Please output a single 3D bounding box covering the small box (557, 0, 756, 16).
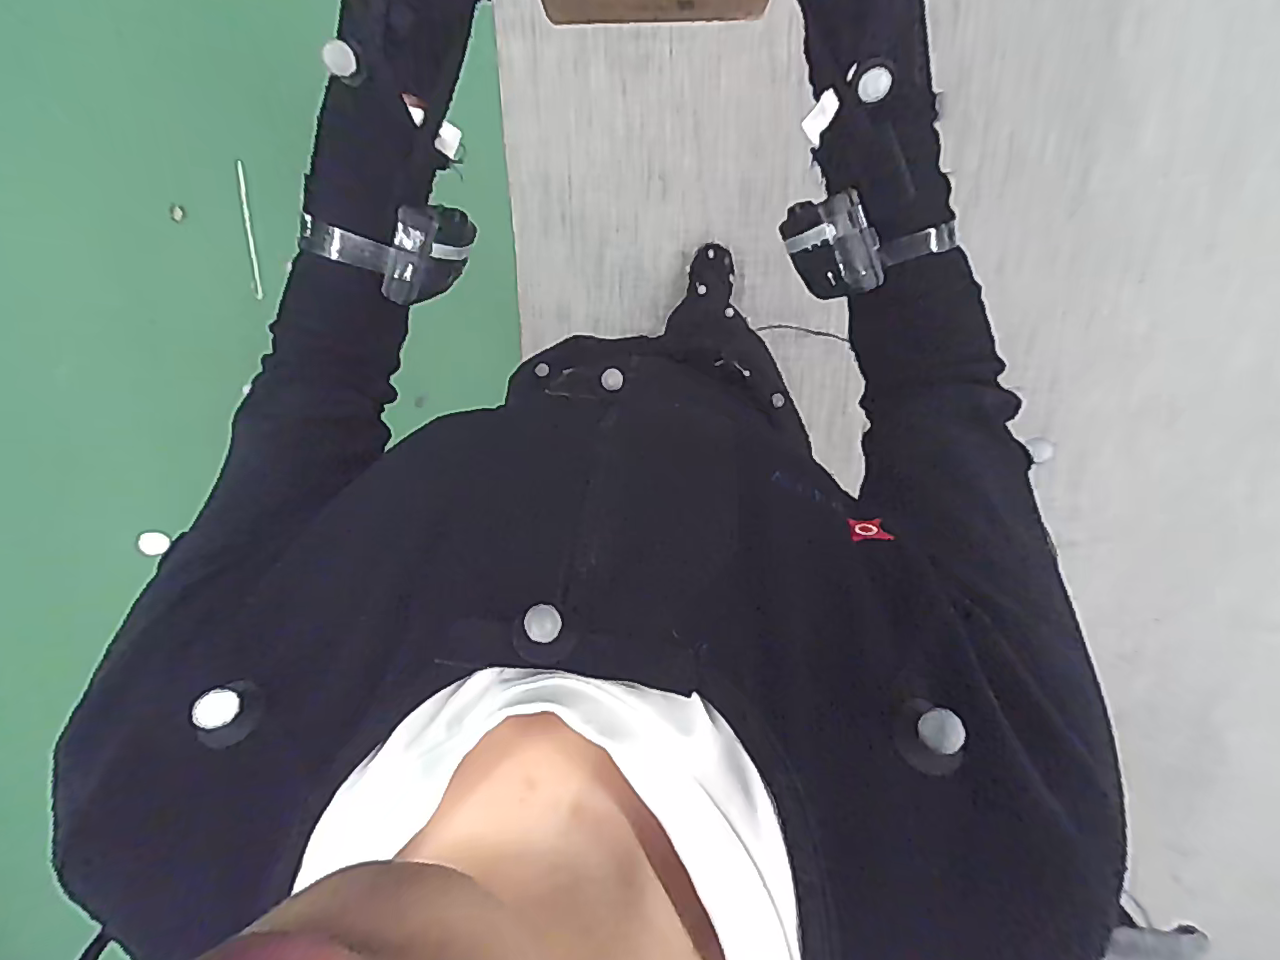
[{"bbox_3d":[0.006,-0.411,0.315,0.168,0.176,0.179,-1,106,1],"label":"small box"}]
